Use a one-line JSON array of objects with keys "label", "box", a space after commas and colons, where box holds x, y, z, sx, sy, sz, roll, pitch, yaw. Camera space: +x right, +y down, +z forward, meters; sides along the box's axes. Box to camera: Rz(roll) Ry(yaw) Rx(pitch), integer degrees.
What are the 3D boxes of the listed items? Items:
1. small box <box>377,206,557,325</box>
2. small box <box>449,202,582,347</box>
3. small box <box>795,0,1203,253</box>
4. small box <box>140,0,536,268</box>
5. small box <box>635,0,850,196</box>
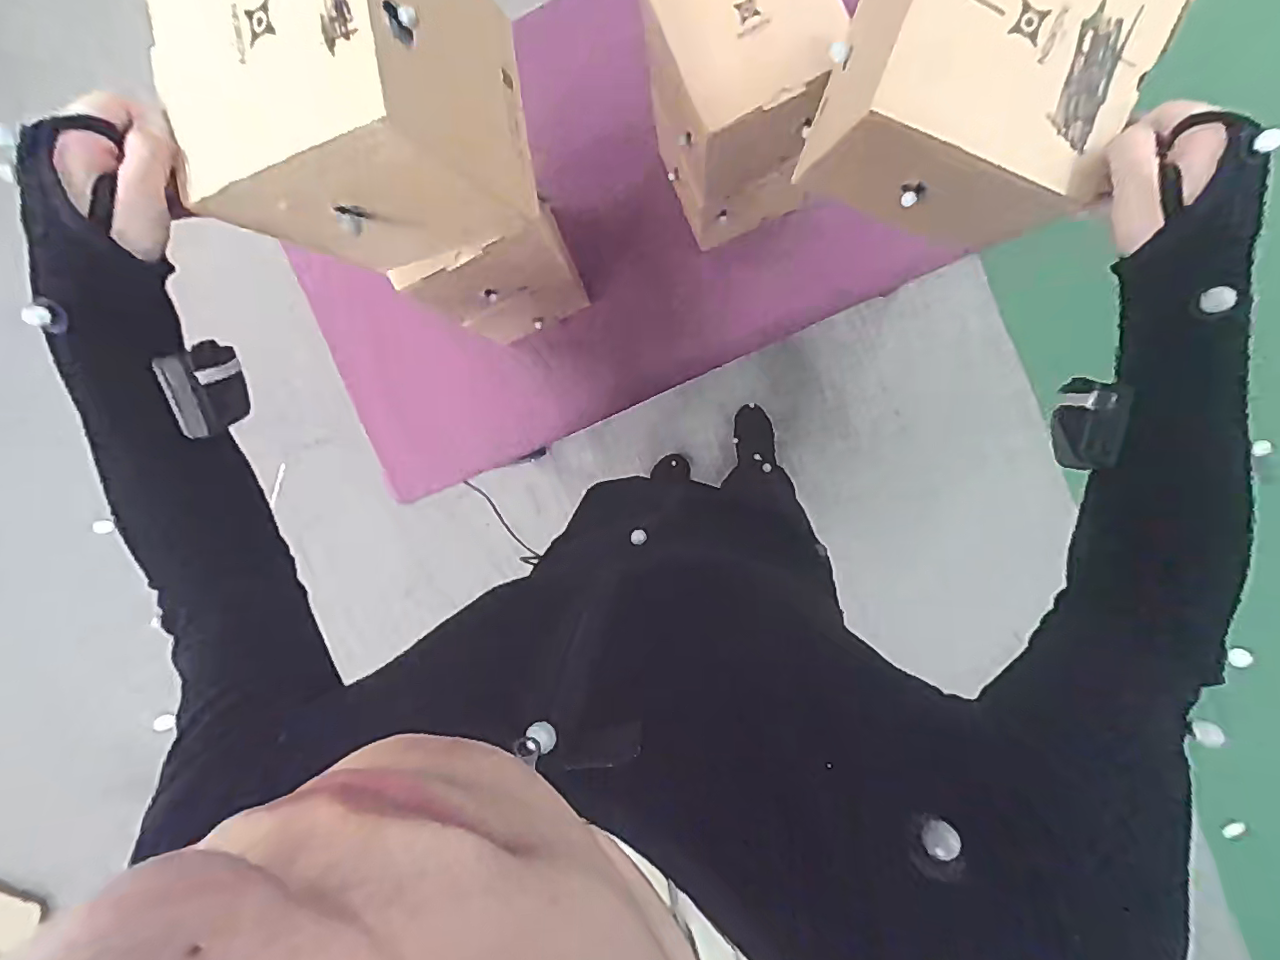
[{"label": "small box", "box": [-0.220, -0.309, 0.643, 0.168, 0.176, 0.179, -25, 93, 6]}, {"label": "small box", "box": [-0.204, -0.320, 0.804, 0.168, 0.176, 0.179, -23, 92, 7]}, {"label": "small box", "box": [0.254, -0.297, 0.428, 0.179, 0.176, 0.168, 20, 101, -7]}, {"label": "small box", "box": [-0.199, -0.268, 0.385, 0.179, 0.176, 0.168, -6, 94, 20]}, {"label": "small box", "box": [0.108, -0.450, 0.601, 0.168, 0.176, 0.179, -24, 91, 6]}]
